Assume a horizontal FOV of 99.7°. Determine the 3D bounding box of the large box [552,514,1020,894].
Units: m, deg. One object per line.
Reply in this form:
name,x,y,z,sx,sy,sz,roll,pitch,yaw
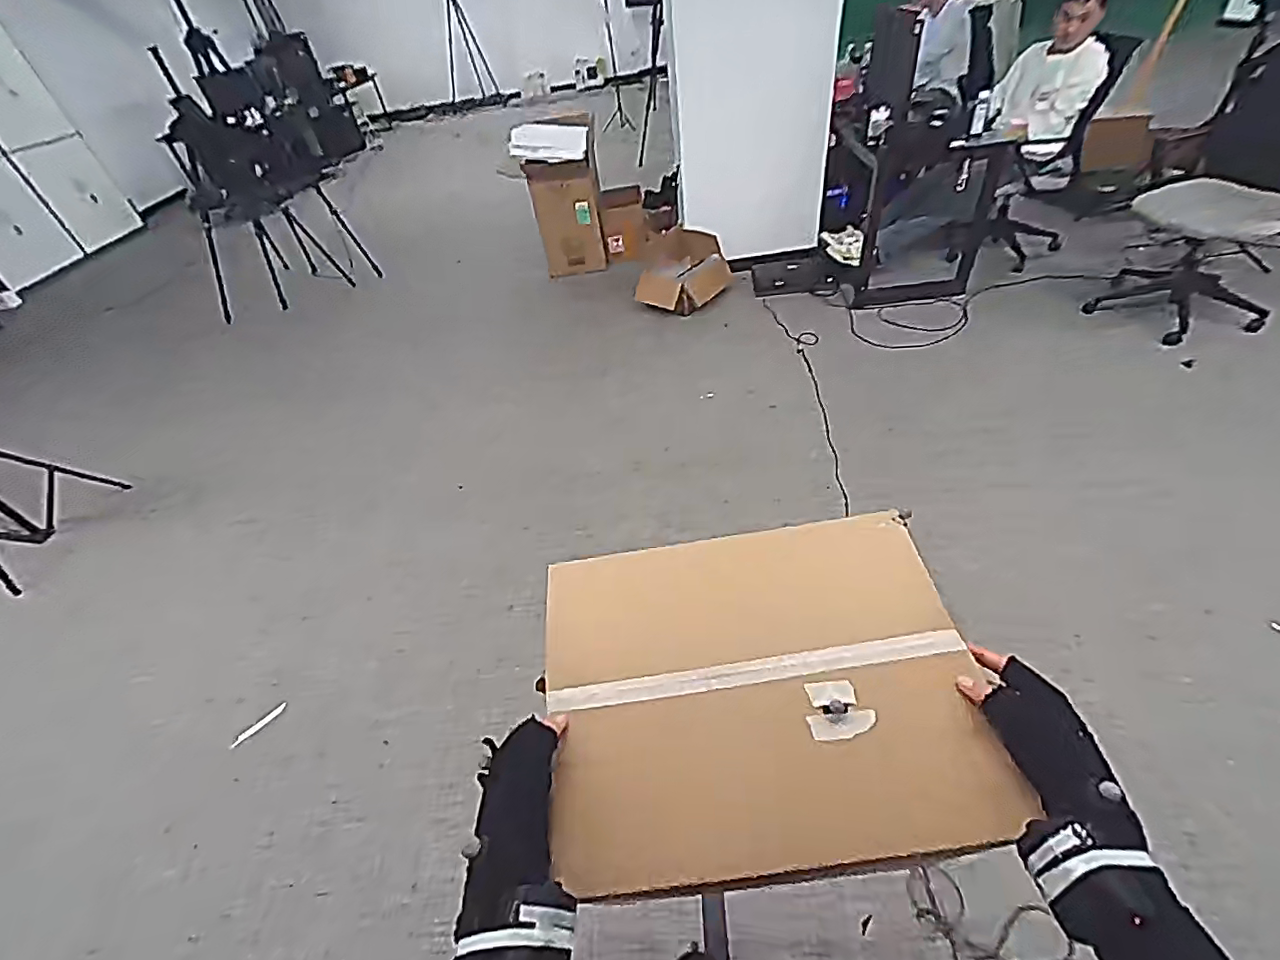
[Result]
large box,0.125,0.283,0.663,0.408,0.320,0.320,-10,52,1
